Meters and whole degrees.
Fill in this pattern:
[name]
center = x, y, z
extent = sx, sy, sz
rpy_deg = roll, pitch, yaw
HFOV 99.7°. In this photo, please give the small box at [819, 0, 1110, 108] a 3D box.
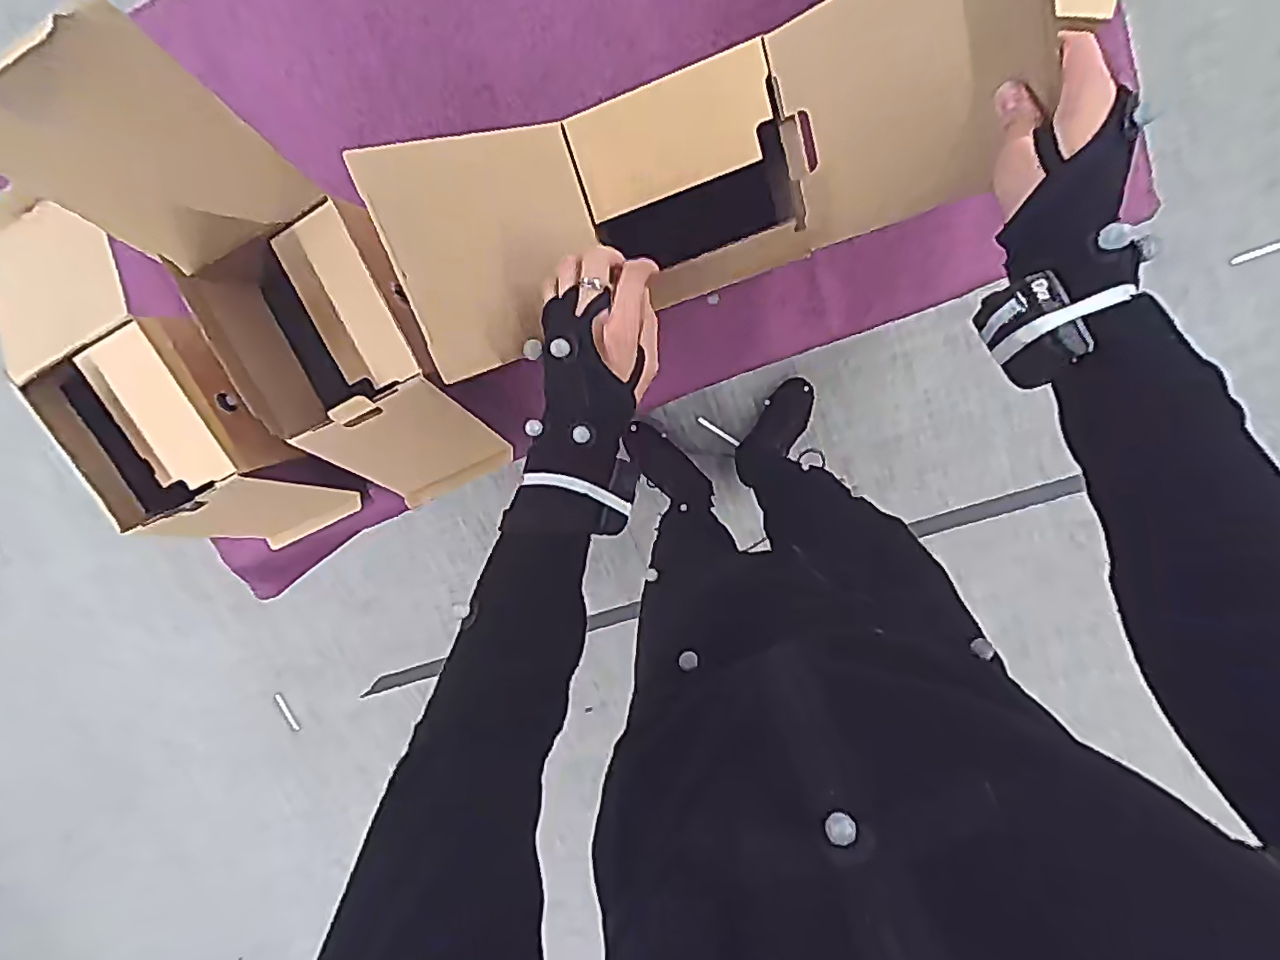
[small box]
center = 0.272, -0.445, 0.461
extent = 0.179, 0.176, 0.168
rpy_deg = 6, 105, 3
